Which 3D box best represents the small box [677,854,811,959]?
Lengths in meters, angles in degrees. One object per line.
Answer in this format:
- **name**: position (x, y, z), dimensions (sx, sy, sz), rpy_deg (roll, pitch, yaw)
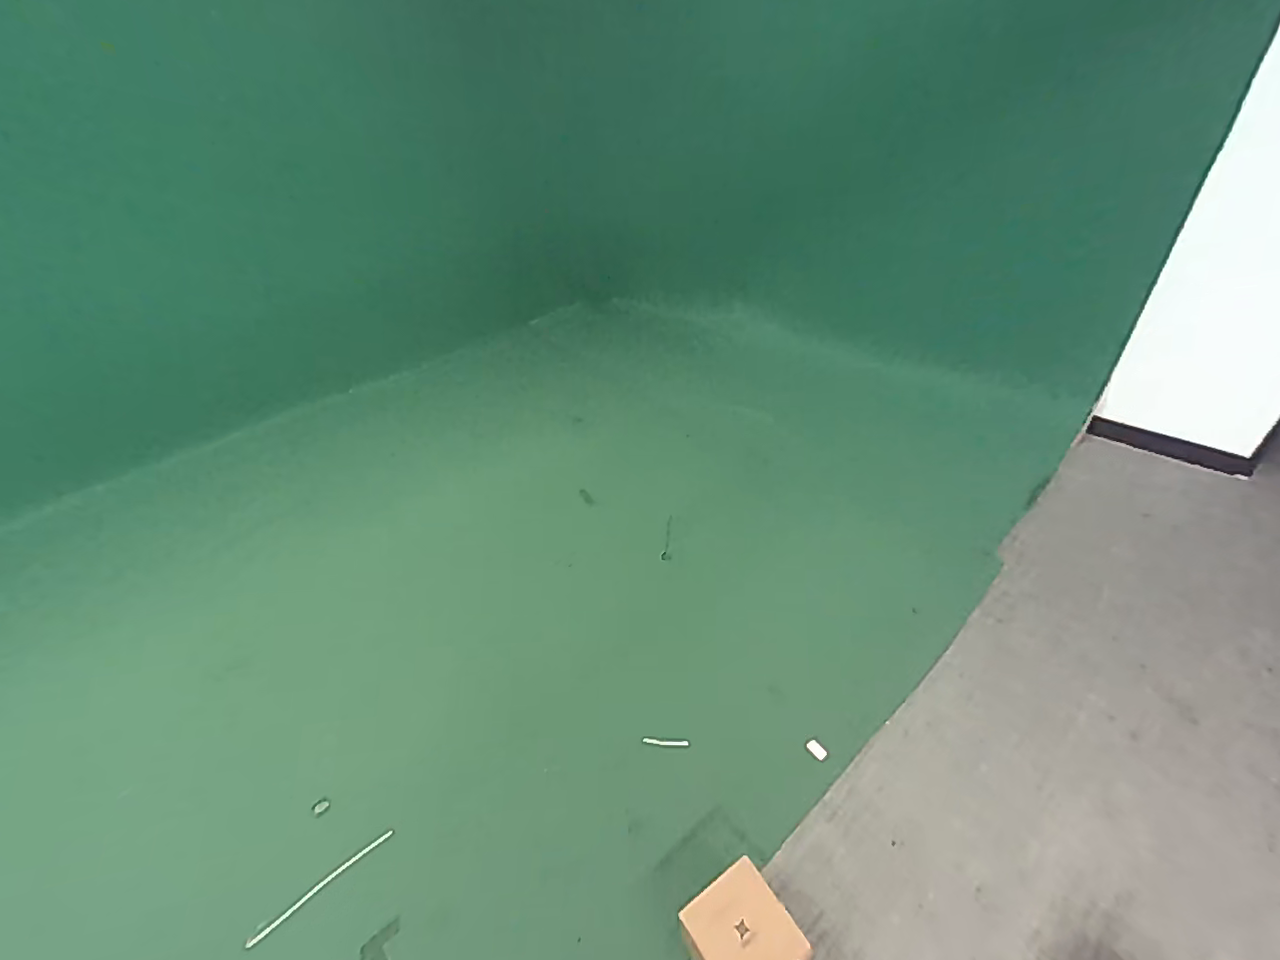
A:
- **small box**: position (0.188, 0.853, 1.002), dimensions (0.168, 0.176, 0.179), rpy_deg (-25, 41, -23)
